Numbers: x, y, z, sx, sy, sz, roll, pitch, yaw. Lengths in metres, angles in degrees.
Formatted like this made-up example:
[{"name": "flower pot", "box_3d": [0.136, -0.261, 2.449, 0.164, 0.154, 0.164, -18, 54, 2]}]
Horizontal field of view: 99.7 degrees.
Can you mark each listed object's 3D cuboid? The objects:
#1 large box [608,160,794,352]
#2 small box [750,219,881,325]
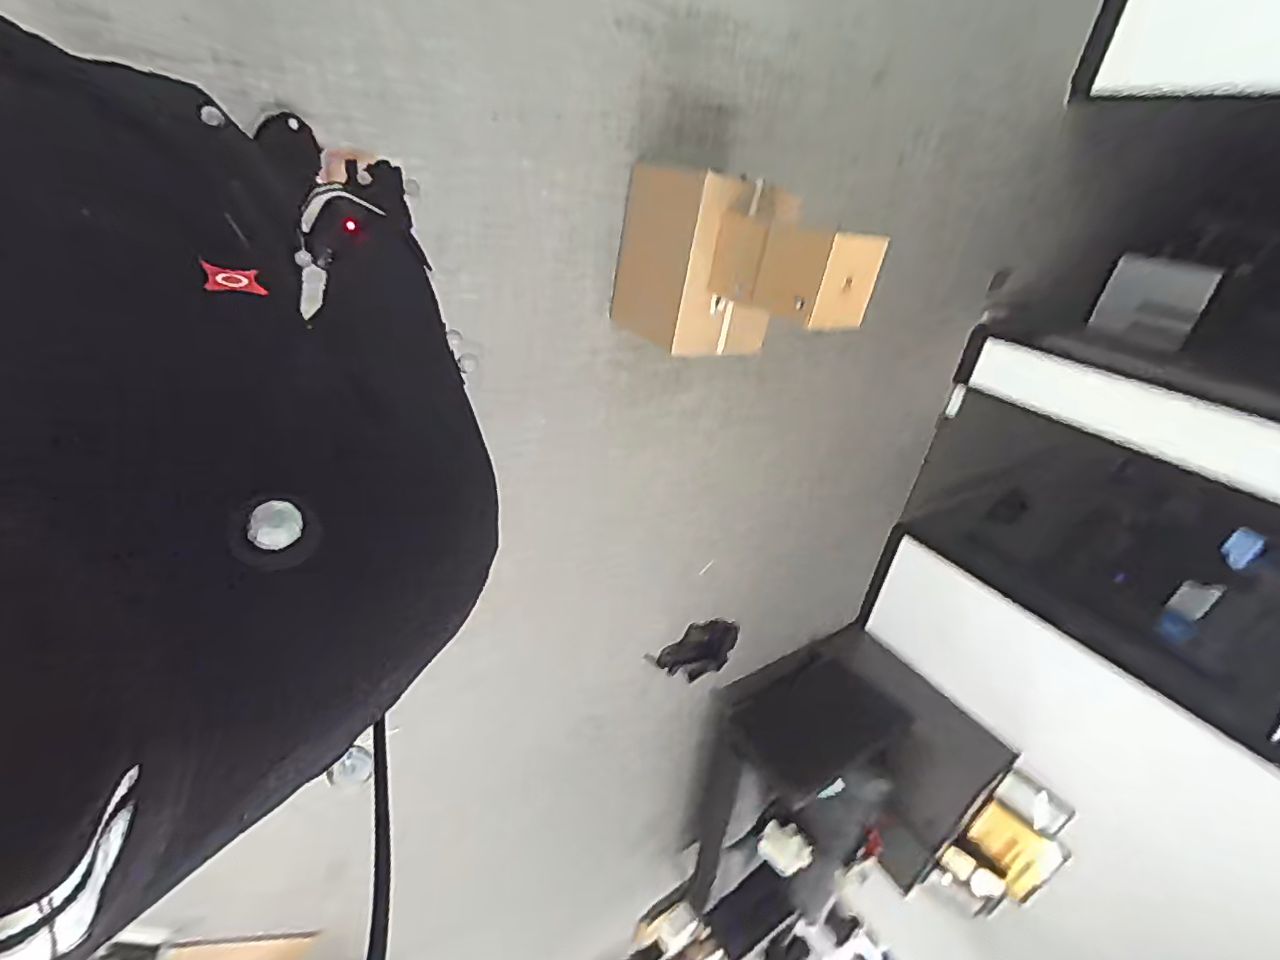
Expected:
[{"name": "large box", "box_3d": [0.140, -0.586, 1.431, 0.320, 0.320, 0.408, -9, 126, -32]}, {"name": "small box", "box_3d": [0.352, -0.430, 1.116, 0.168, 0.176, 0.179, -12, 127, -32]}]
